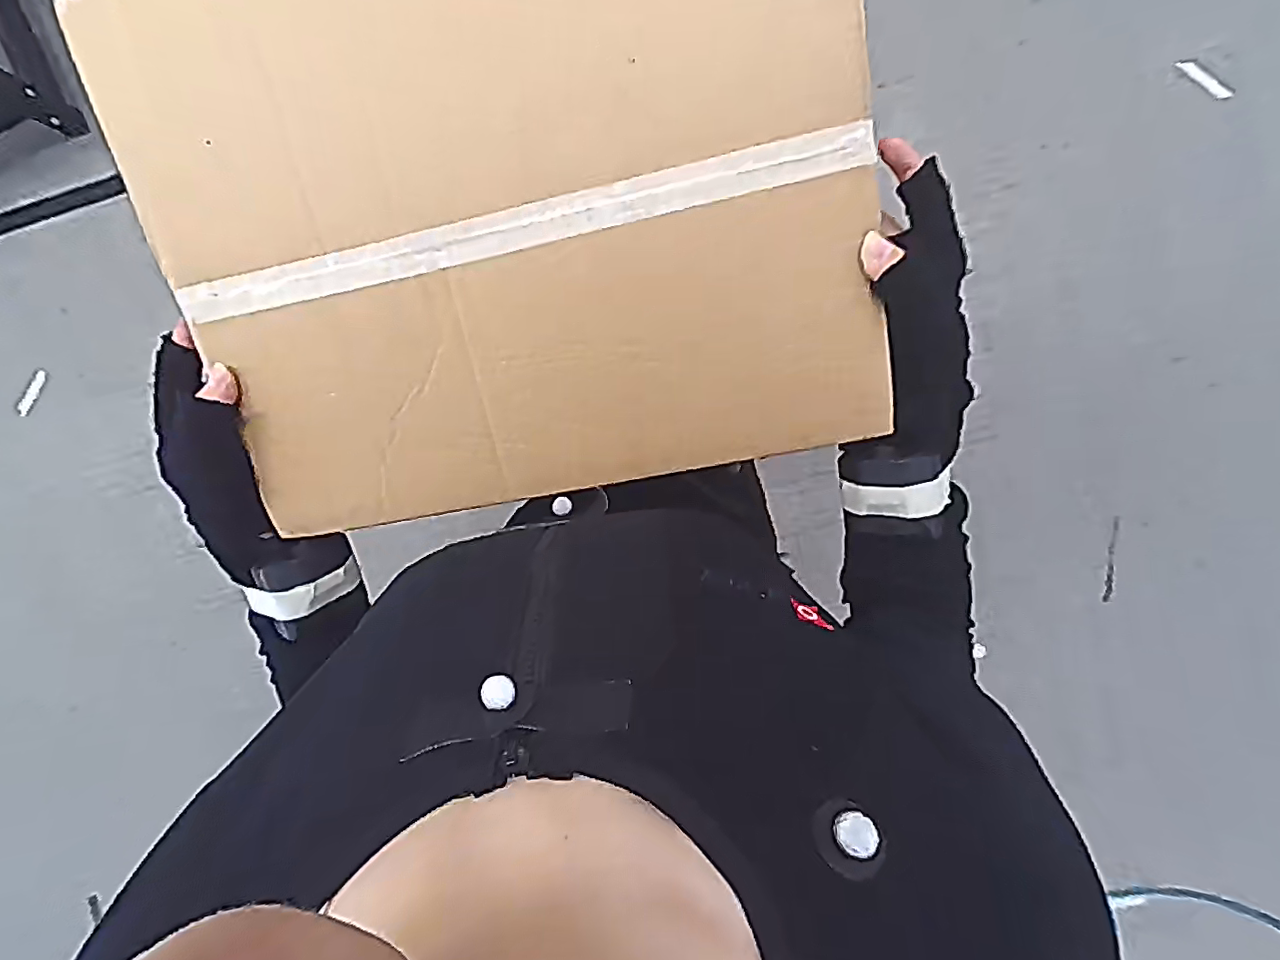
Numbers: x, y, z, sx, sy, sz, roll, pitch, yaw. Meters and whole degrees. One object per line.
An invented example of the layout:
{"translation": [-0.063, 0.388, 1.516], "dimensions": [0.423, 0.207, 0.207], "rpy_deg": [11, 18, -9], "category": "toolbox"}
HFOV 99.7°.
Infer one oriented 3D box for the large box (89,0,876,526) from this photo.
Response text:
{"translation": [-0.068, -0.192, 0.454], "dimensions": [0.408, 0.320, 0.320], "rpy_deg": [-10, 106, 7], "category": "large box"}
